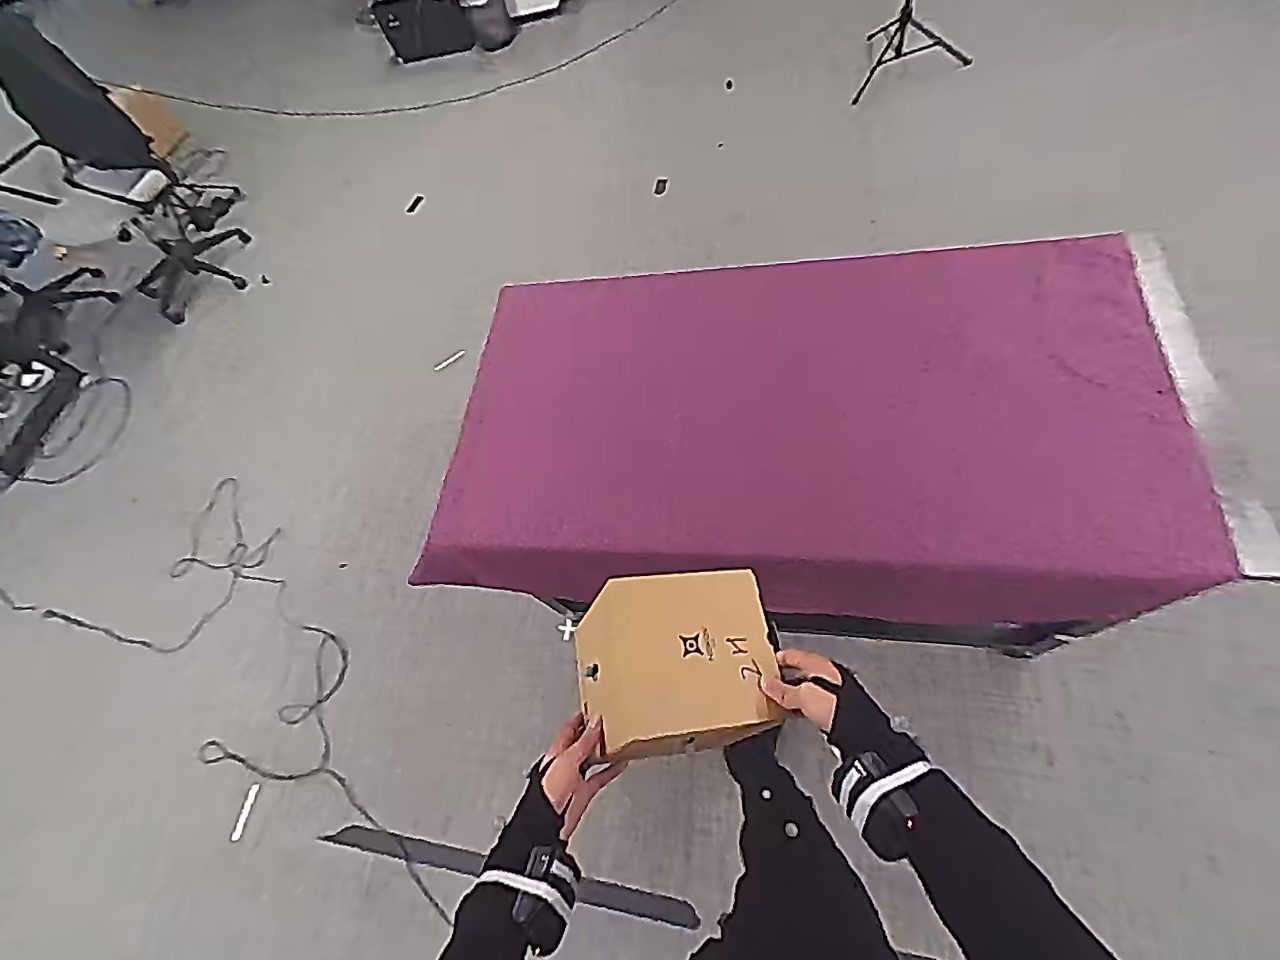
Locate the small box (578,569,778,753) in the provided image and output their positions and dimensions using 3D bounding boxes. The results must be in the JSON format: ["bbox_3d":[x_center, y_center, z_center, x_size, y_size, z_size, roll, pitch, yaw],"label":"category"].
[{"bbox_3d":[0.028,0.216,0.642,0.179,0.176,0.168,5,56,-21],"label":"small box"}]
